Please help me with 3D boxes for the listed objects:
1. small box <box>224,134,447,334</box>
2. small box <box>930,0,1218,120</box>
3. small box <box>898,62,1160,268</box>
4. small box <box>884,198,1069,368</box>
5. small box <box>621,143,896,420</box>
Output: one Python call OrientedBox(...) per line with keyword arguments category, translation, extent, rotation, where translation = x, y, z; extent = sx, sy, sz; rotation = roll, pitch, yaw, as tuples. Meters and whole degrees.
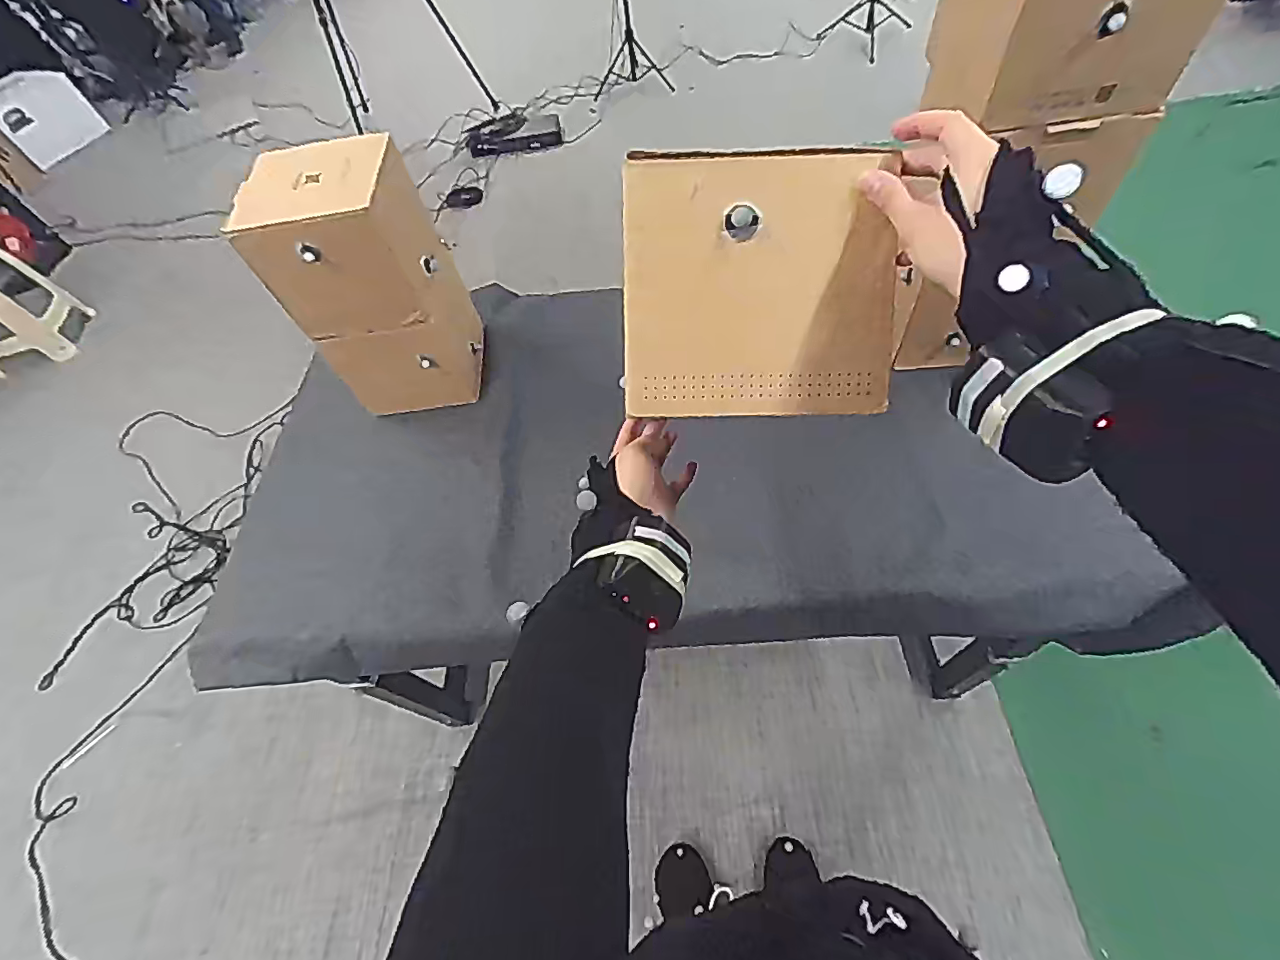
OrientedBox(category="small box", translation=(-0.377, -0.311, 0.707), extent=(0.179, 0.176, 0.168), rotation=(-8, 59, 2))
OrientedBox(category="small box", translation=(0.391, -0.450, 0.485), extent=(0.168, 0.176, 0.179), rotation=(-4, 58, 6))
OrientedBox(category="small box", translation=(0.419, -0.364, 0.623), extent=(0.168, 0.176, 0.179), rotation=(-3, 59, 7))
OrientedBox(category="small box", translation=(0.442, -0.282, 0.763), extent=(0.168, 0.176, 0.179), rotation=(-3, 58, 7))
OrientedBox(category="small box", translation=(0.080, -0.133, 0.426), extent=(0.179, 0.168, 0.176), rotation=(0, 98, 3))
